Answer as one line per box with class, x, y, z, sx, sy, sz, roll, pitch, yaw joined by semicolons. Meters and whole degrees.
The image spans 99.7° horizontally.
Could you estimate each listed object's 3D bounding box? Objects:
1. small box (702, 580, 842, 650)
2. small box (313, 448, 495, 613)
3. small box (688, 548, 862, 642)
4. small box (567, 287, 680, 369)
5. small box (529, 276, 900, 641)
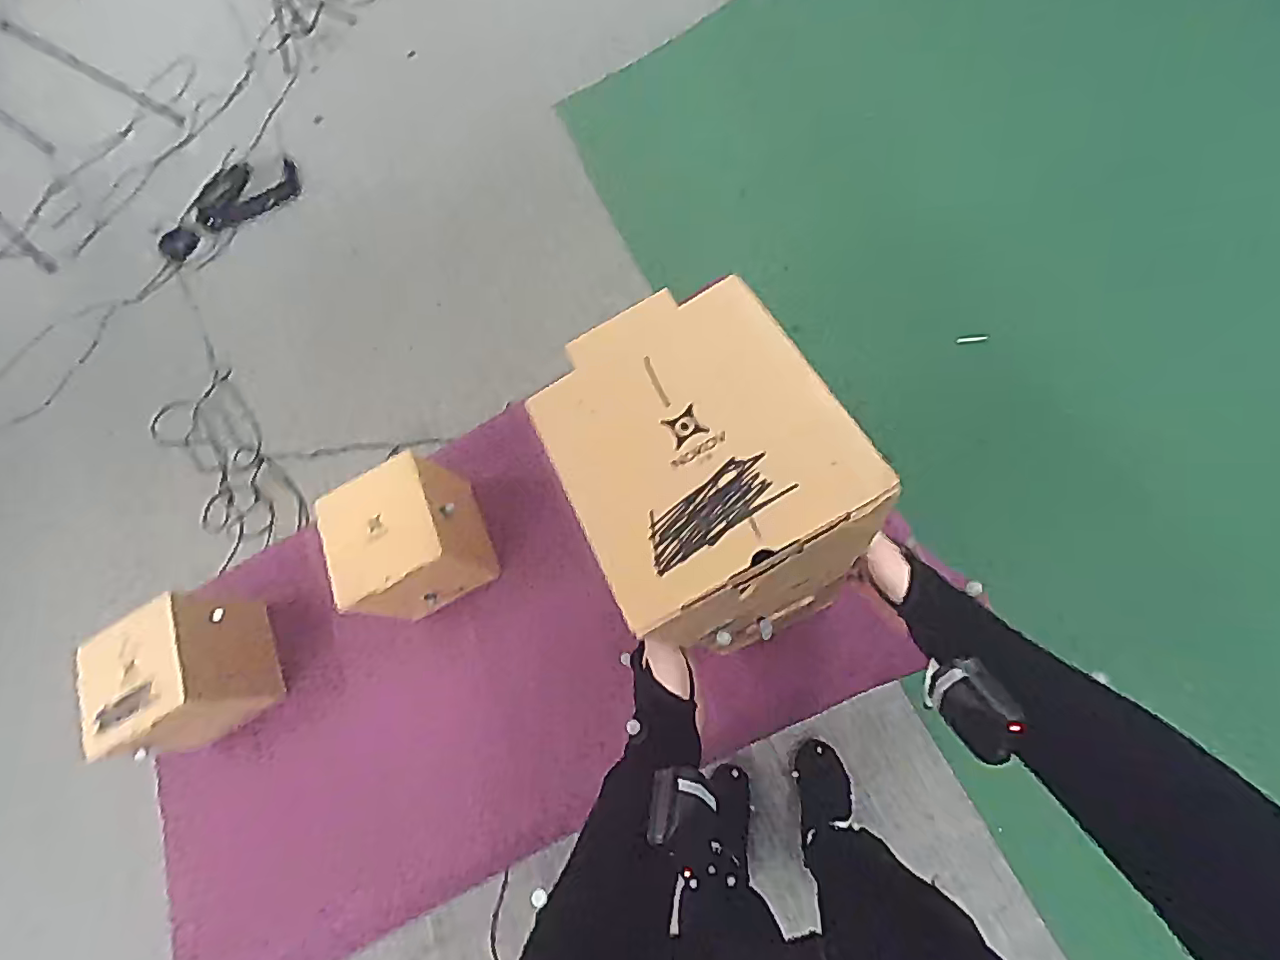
small box;0.133;0.104;0.693;0.168;0.176;0.179;-27;67;5
small box;-0.348;0.086;0.816;0.168;0.176;0.179;-28;69;3
small box;0.092;0.049;0.544;0.168;0.176;0.179;-28;68;4
small box;0.019;-0.137;0.797;0.168;0.176;0.179;-28;69;6
small box;0.053;0.001;0.392;0.168;0.176;0.179;-30;66;4
